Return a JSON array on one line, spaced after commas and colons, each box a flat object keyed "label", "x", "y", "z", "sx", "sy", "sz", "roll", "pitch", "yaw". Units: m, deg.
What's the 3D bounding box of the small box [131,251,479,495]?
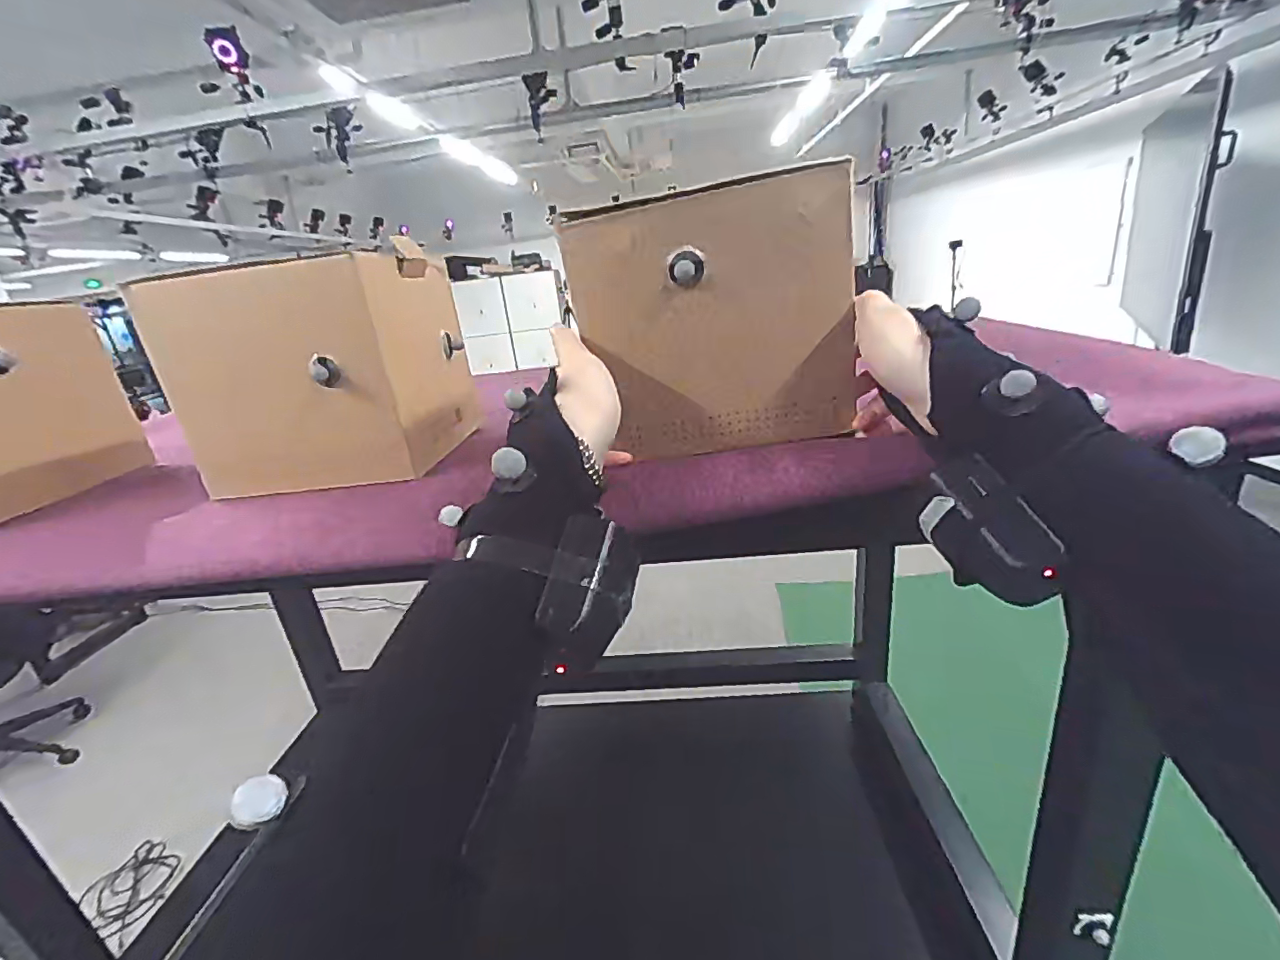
[{"label": "small box", "x": -0.260, "y": -0.097, "z": 0.474, "sx": 0.179, "sy": 0.176, "sz": 0.168, "roll": -6, "pitch": 20, "yaw": 5}]

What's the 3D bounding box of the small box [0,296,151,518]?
[{"label": "small box", "x": -0.601, "y": -0.060, "z": 0.475, "sx": 0.168, "sy": 0.176, "sz": 0.179, "roll": -5, "pitch": 21, "yaw": 3}]

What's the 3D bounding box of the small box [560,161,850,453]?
[{"label": "small box", "x": 0.056, "y": -0.128, "z": 0.428, "sx": 0.179, "sy": 0.176, "sz": 0.168, "roll": -7, "pitch": 22, "yaw": 10}]
